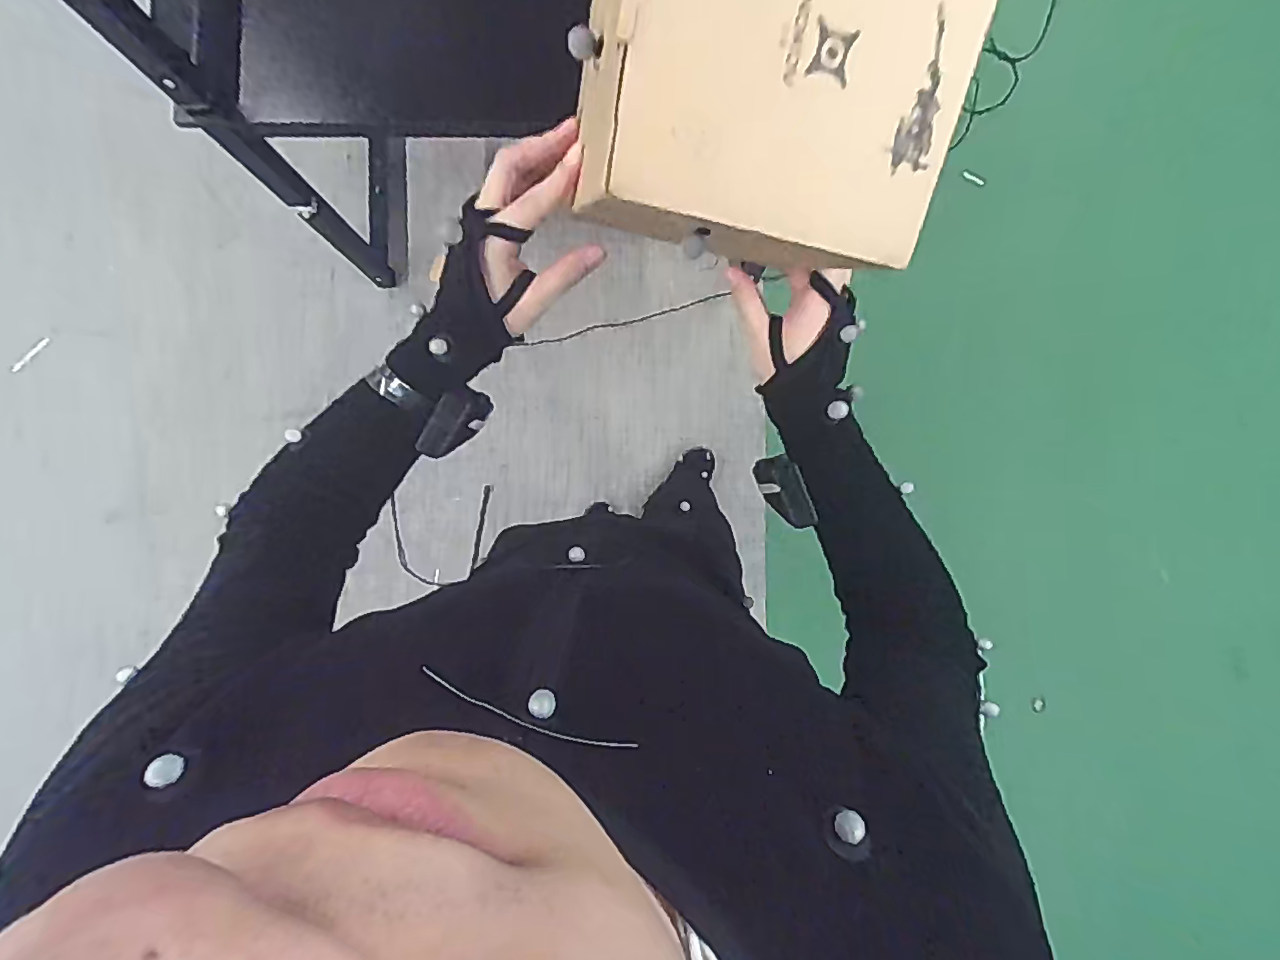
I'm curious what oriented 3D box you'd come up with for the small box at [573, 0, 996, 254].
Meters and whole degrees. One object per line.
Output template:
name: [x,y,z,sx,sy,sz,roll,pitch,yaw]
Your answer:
small box: [0.061,-0.235,0.315,0.179,0.176,0.168,6,112,-16]
